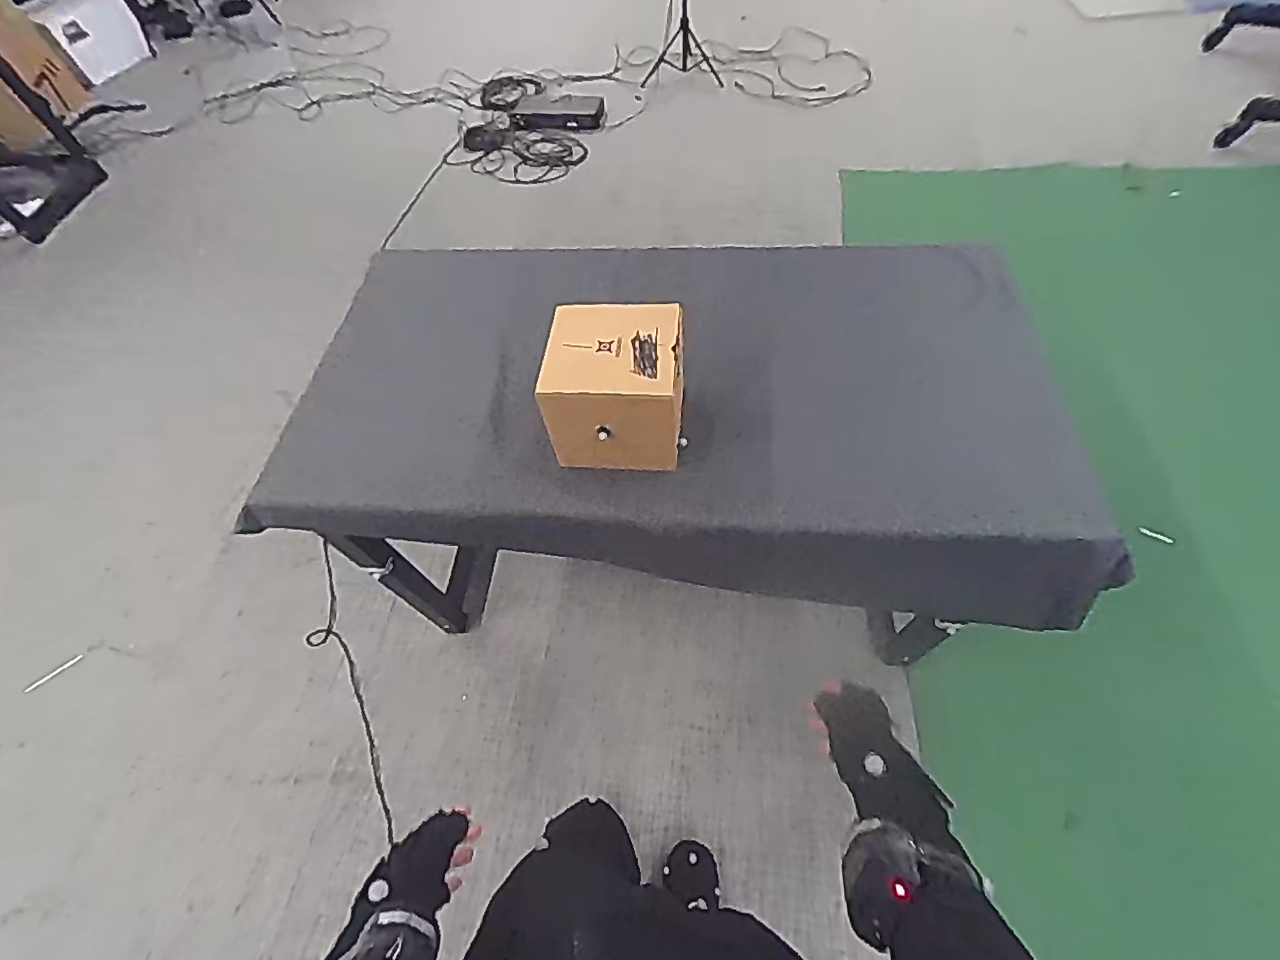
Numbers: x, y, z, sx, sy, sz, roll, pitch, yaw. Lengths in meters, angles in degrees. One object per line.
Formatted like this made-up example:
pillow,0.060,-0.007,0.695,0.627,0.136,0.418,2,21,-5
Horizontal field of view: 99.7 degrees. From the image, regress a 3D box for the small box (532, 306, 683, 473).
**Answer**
small box,-0.034,-0.125,0.776,0.179,0.176,0.168,5,56,8
